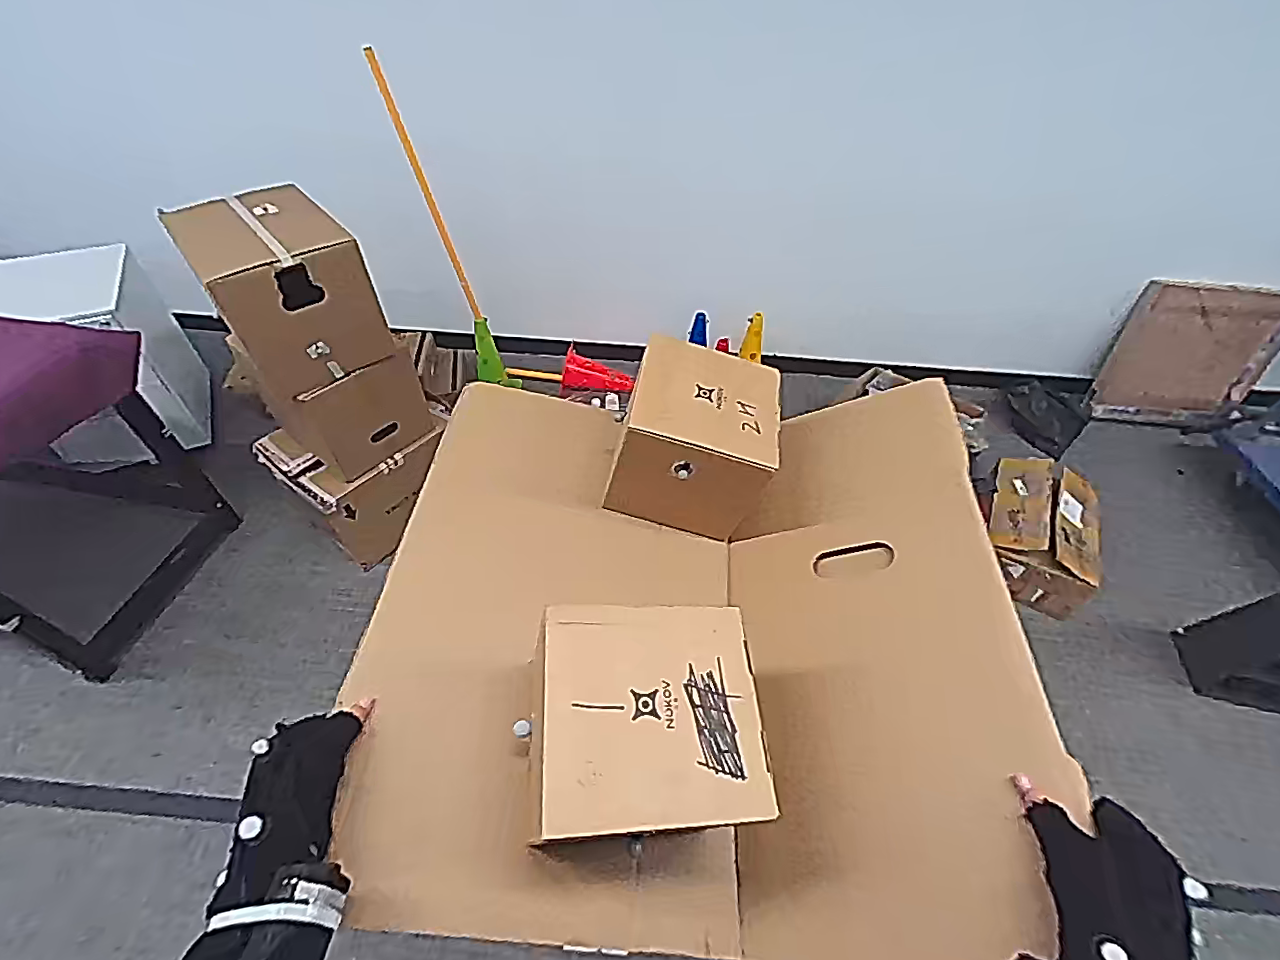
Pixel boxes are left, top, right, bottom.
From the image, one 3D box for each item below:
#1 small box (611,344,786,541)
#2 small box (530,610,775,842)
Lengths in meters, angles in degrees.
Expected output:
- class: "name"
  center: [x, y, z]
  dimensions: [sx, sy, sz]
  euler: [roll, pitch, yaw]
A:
- class: "small box"
  center: [0.071, -0.041, 0.705]
  dimensions: [0.179, 0.176, 0.168]
  euler: [17, 54, -4]
- class: "small box"
  center: [-0.003, 0.229, 0.496]
  dimensions: [0.179, 0.176, 0.168]
  euler: [4, 55, -12]
